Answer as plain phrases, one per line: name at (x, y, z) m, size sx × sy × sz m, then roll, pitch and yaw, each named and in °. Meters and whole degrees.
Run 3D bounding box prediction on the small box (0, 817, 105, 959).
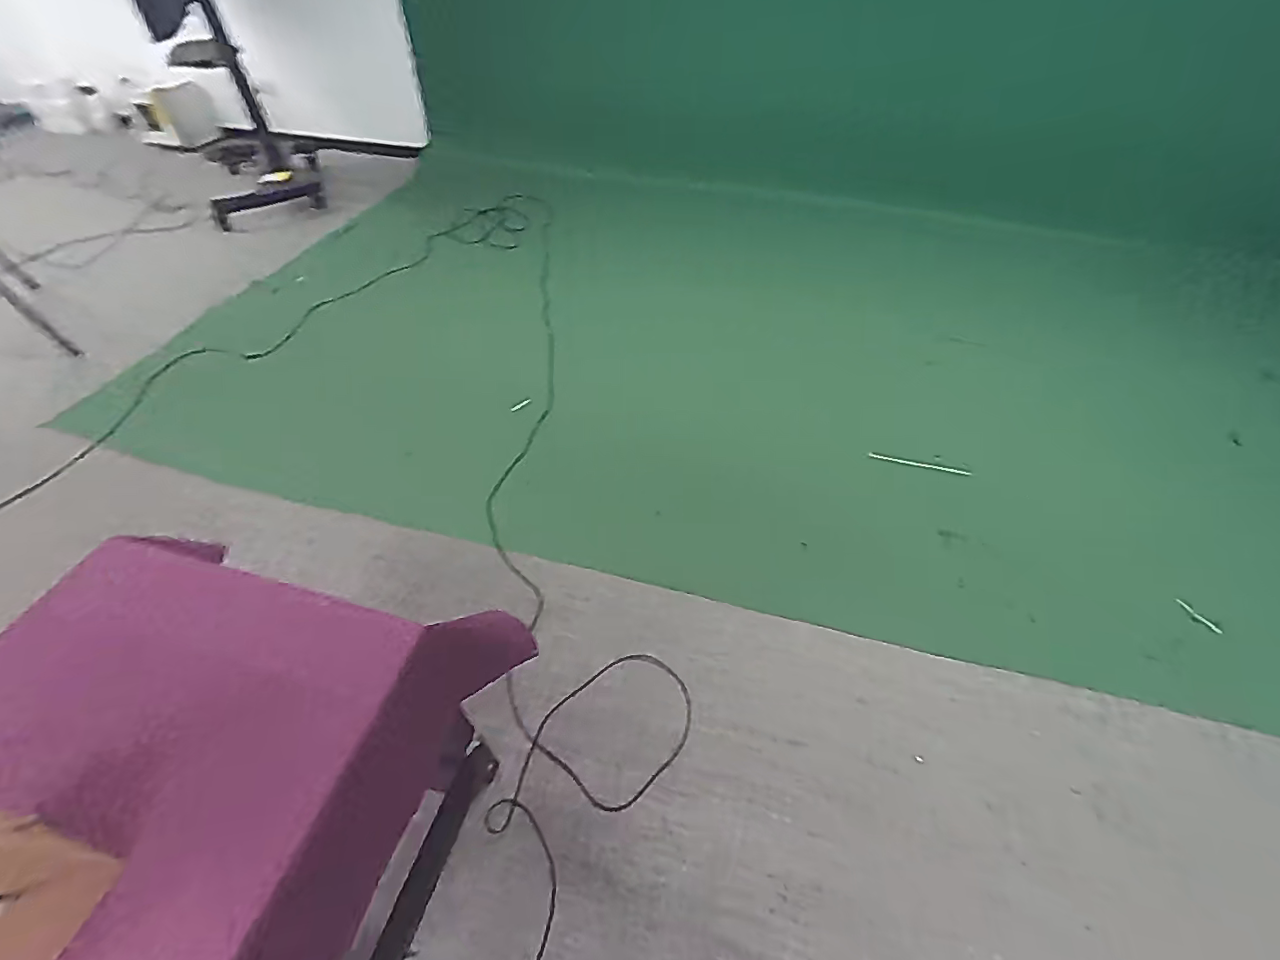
small box at (-0.692, 0.440, 0.525) m, size 0.168 × 0.176 × 0.179 m, roll 13°, pitch 50°, yaw 11°
